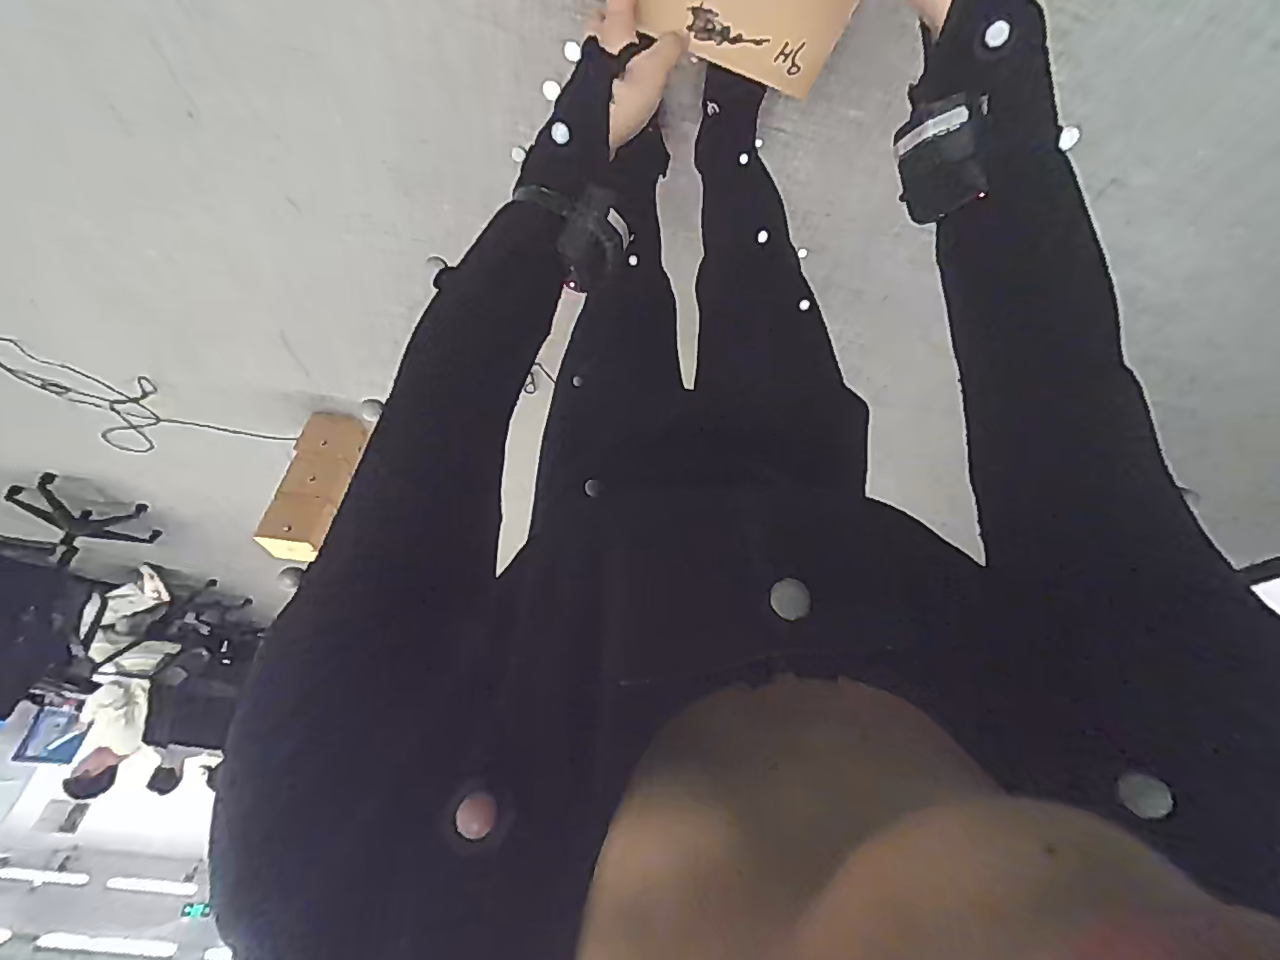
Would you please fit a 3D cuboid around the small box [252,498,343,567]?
[{"bbox_3d":[-1.137,0.173,1.808,0.179,0.176,0.168,7,148,-3],"label":"small box"}]

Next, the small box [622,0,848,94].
[{"bbox_3d":[0.091,-0.460,0.417,0.168,0.176,0.179,12,151,-13],"label":"small box"}]

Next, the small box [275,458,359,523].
[{"bbox_3d":[-1.127,0.039,1.900,0.179,0.176,0.168,8,148,-4],"label":"small box"}]

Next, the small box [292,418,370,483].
[{"bbox_3d":[-1.114,-0.108,1.973,0.179,0.176,0.168,7,147,0],"label":"small box"}]
